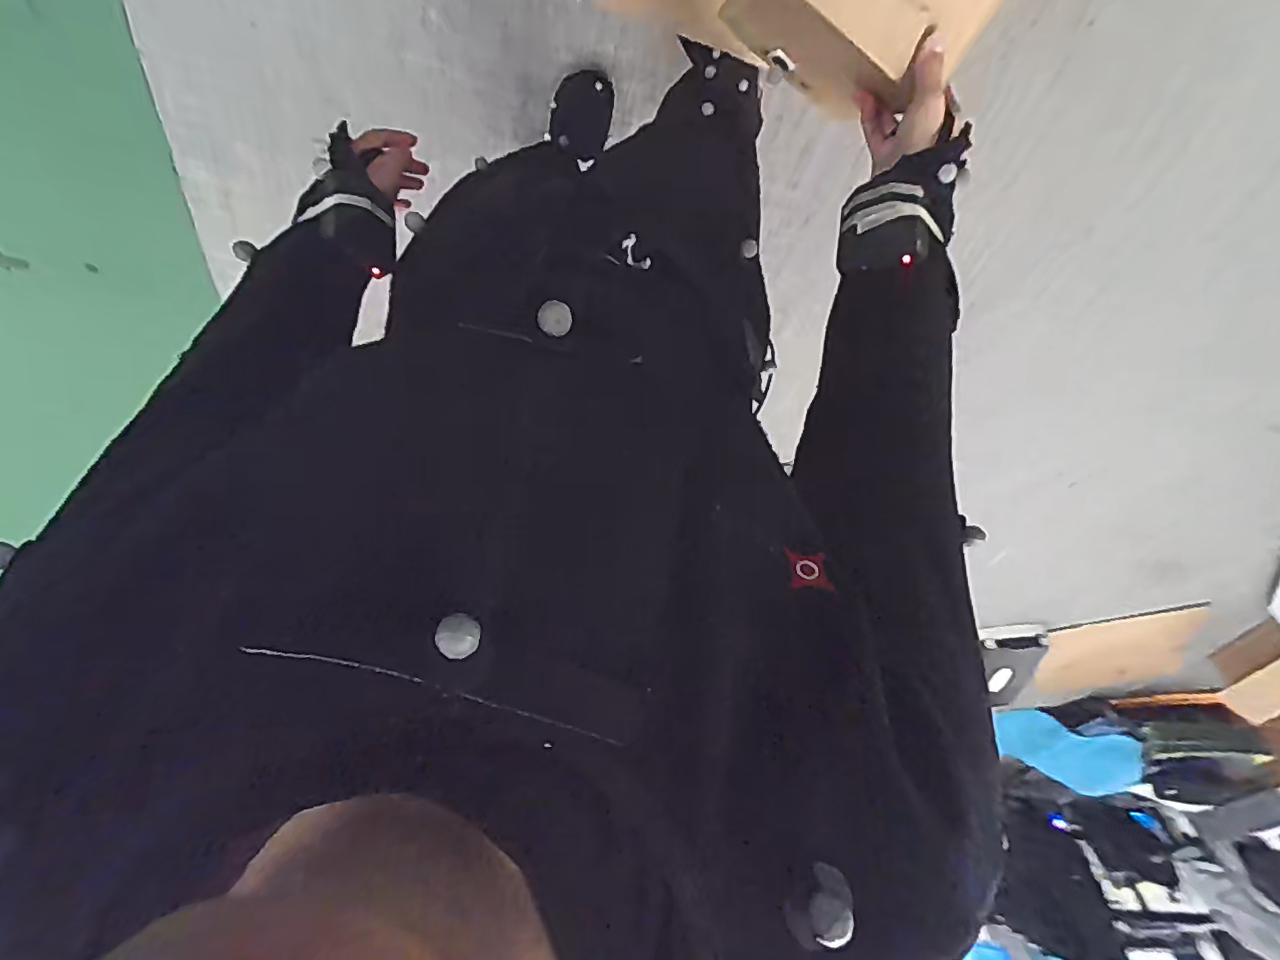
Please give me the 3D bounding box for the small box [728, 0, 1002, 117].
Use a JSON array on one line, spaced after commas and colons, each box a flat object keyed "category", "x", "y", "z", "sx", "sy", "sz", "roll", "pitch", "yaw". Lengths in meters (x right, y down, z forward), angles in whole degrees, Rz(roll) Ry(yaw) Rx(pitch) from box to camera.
[{"category": "small box", "x": 0.196, "y": -0.439, "z": 0.446, "sx": 0.168, "sy": 0.176, "sz": 0.179, "roll": 23, "pitch": 114, "yaw": -20}]
